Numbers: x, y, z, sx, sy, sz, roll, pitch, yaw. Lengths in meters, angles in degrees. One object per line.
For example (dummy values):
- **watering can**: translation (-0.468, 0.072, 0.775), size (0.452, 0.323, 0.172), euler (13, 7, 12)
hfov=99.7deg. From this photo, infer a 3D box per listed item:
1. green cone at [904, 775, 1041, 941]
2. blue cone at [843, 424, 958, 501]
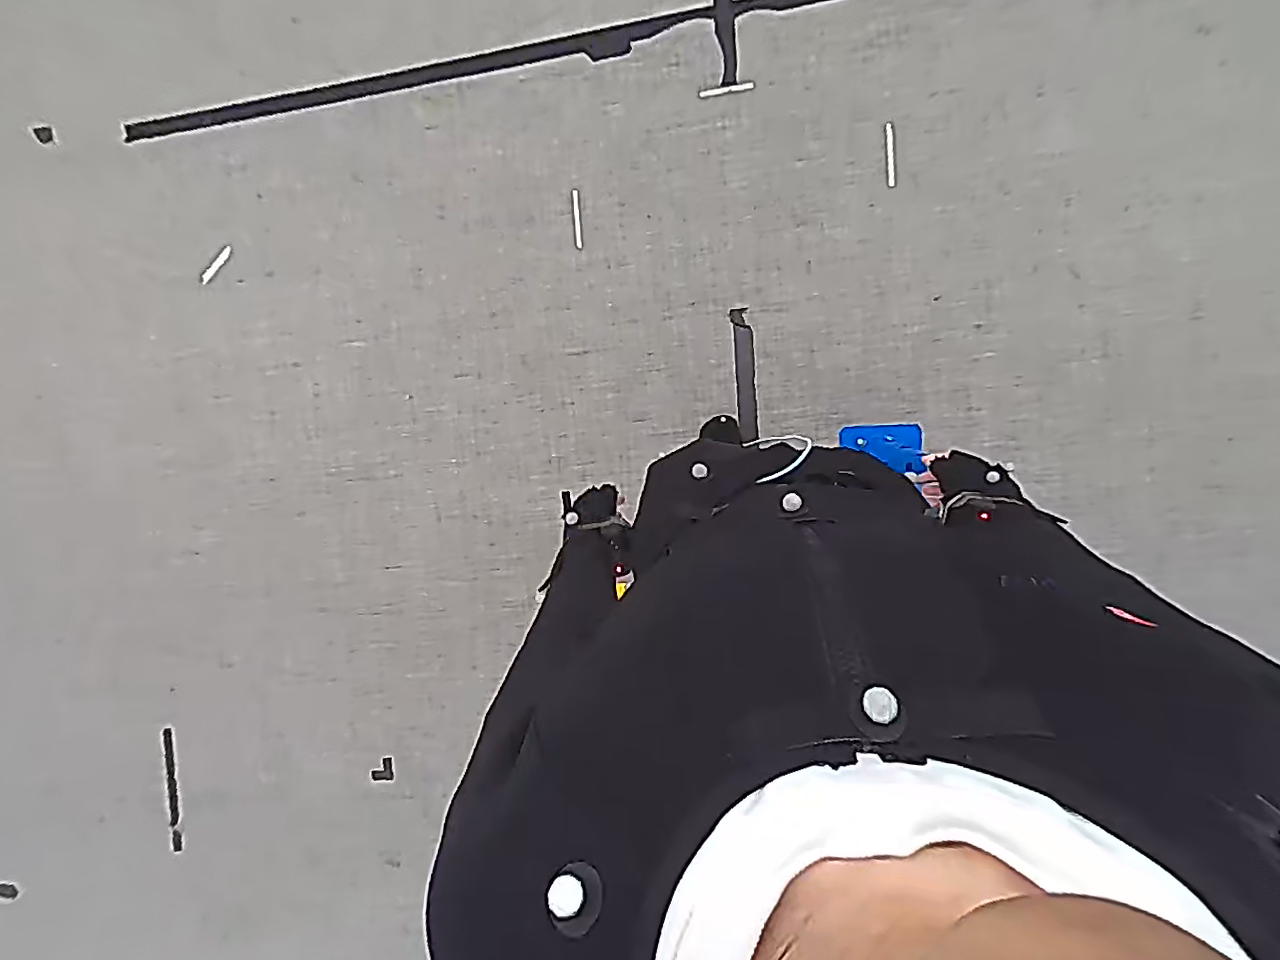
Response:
- **green cone**: translation (0.770, 0.868, 1.222), size (0.202, 0.368, 0.200), euler (-4, 93, 6)
- **blue cone**: translation (0.597, -0.034, 1.210), size (0.192, 0.380, 0.193), euler (0, 93, 6)
